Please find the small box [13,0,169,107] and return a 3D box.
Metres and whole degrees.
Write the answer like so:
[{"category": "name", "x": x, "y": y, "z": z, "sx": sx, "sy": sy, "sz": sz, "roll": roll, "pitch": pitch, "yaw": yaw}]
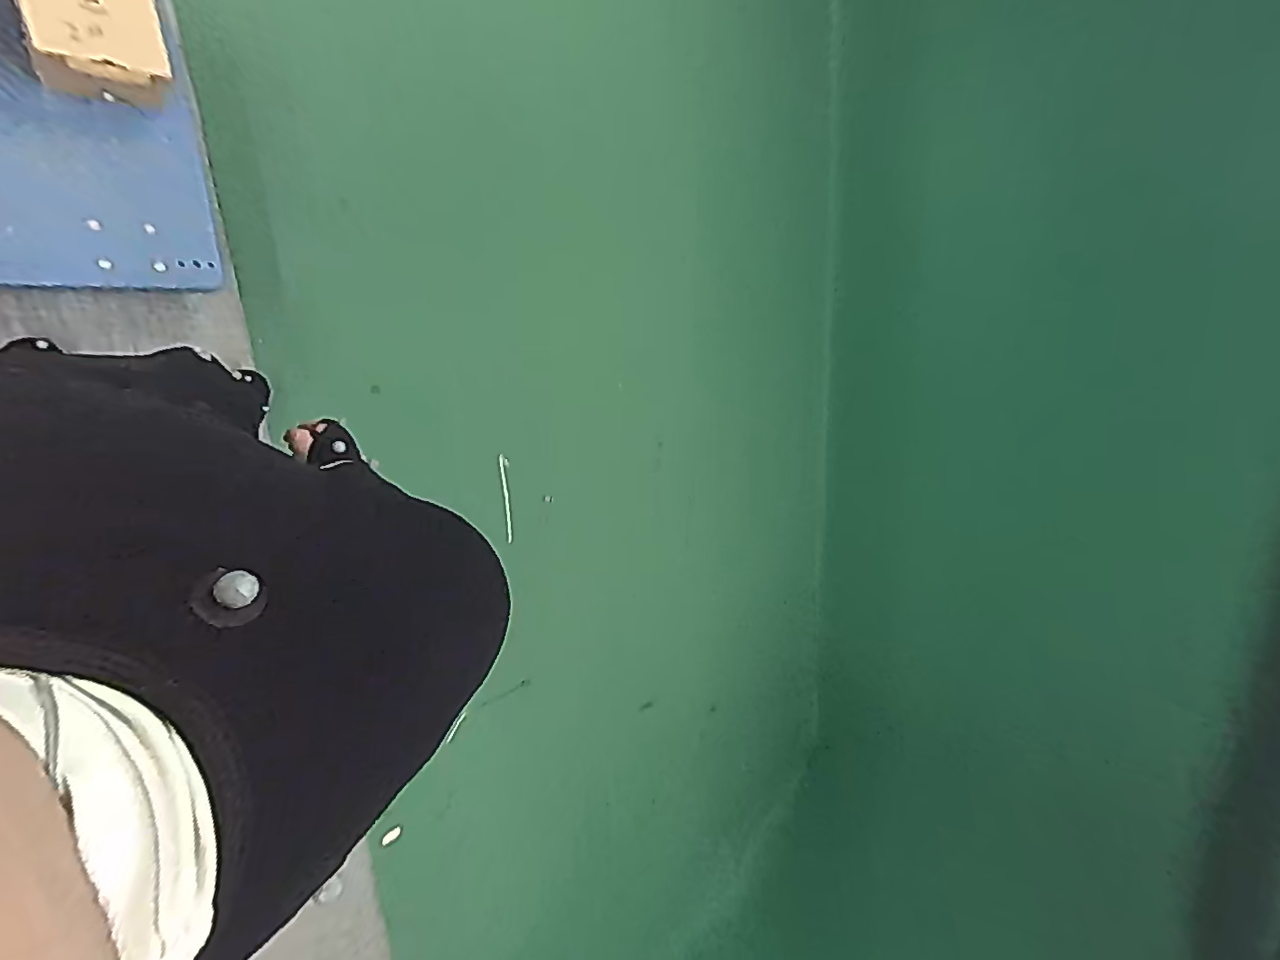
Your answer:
[{"category": "small box", "x": -0.934, "y": -0.773, "z": 0.915, "sx": 0.168, "sy": 0.176, "sz": 0.179, "roll": -18, "pitch": 111, "yaw": -42}]
